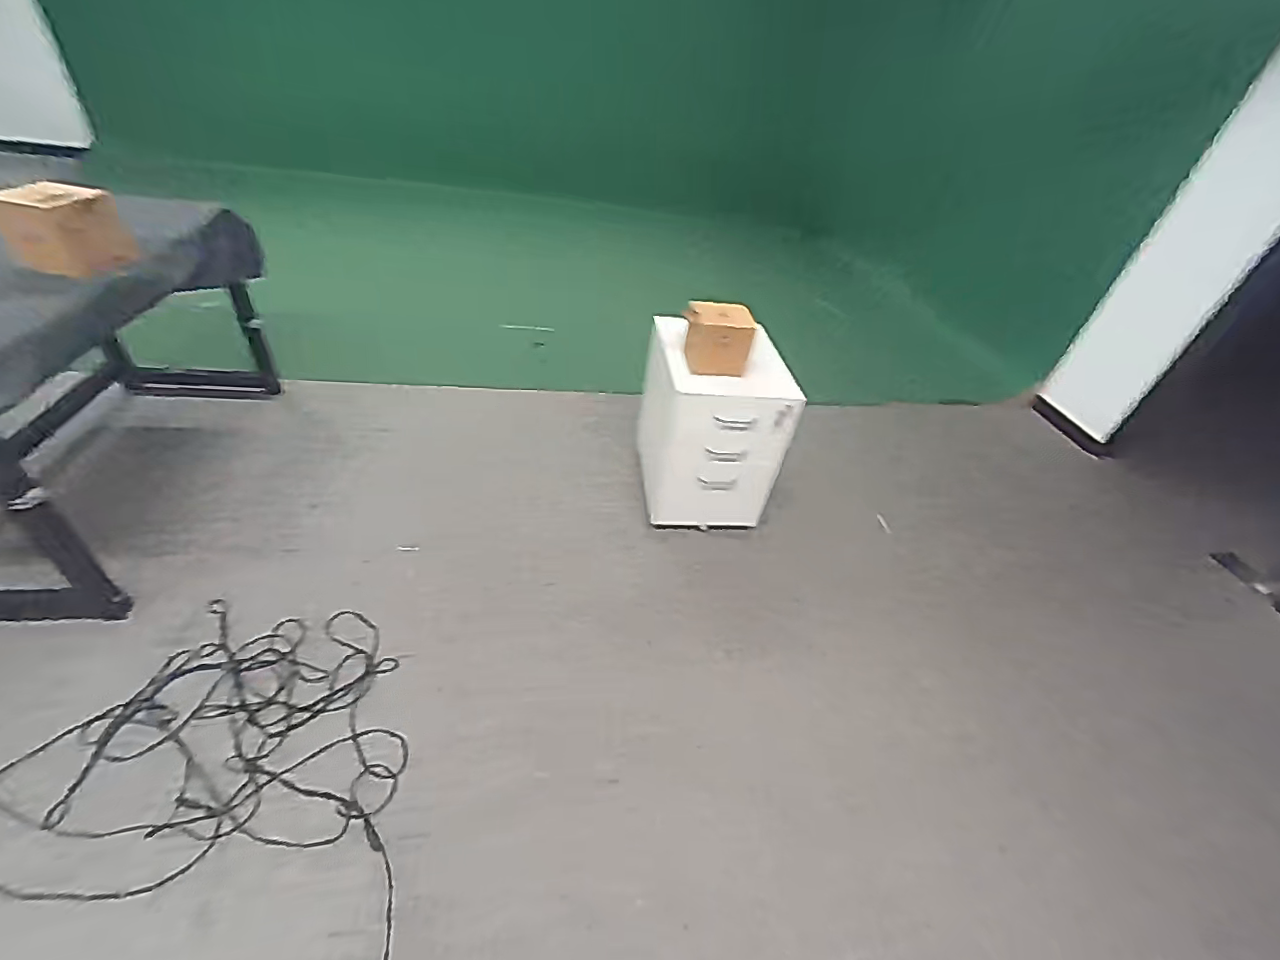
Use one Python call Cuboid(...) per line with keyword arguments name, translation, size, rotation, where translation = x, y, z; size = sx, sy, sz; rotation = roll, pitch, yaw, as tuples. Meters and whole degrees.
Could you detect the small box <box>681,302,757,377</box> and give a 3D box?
Cuboid(name="small box", translation=(0.237, -0.431, 1.673), size=(0.179, 0.176, 0.168), rotation=(0, 42, -11))
